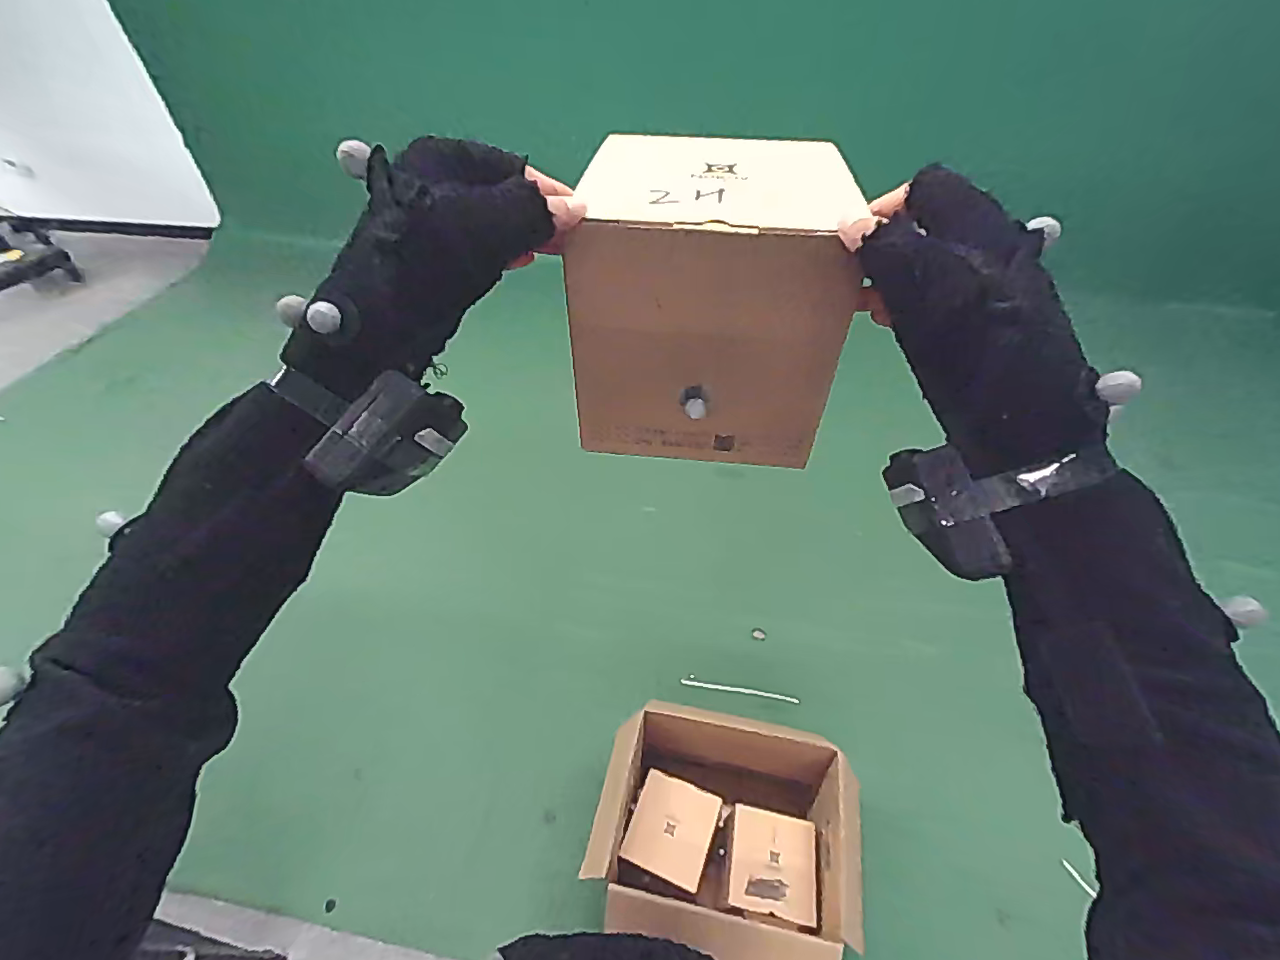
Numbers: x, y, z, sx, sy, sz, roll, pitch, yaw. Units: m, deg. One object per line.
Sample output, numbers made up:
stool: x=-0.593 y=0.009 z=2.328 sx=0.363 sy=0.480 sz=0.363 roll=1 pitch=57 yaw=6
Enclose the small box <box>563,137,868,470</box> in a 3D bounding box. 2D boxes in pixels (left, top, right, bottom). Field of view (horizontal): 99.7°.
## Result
small box: x=0.047 y=-0.132 z=0.399 sx=0.168 sy=0.176 sz=0.179 roll=5 pitch=46 yaw=5
